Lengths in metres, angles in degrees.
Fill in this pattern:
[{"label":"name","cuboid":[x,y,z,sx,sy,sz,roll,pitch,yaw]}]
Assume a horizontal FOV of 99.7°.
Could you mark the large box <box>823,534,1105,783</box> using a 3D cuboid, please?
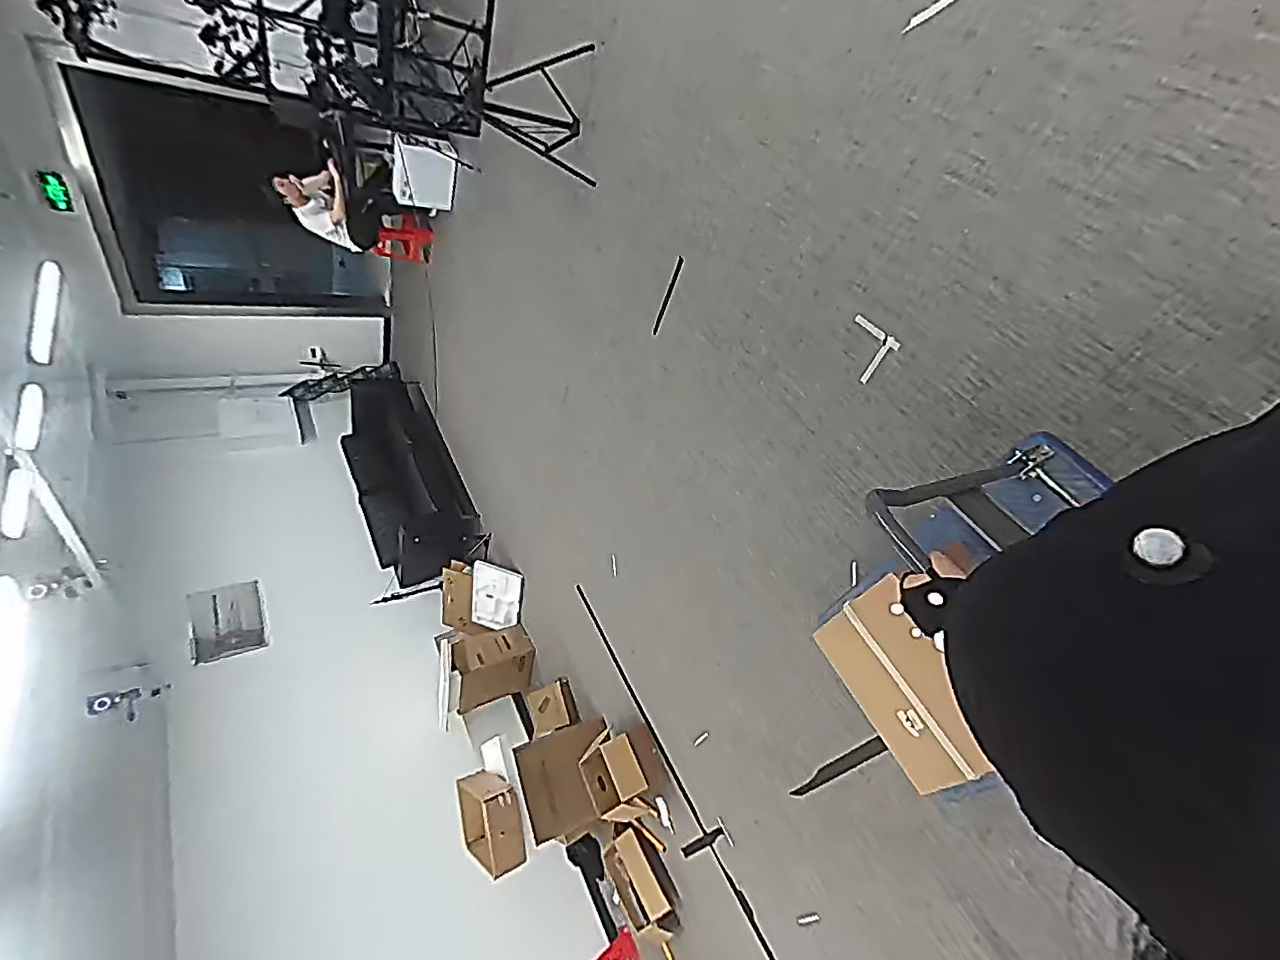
[{"label":"large box","cuboid":[0.723,0.394,1.251,0.408,0.320,0.320,58,142,28]}]
